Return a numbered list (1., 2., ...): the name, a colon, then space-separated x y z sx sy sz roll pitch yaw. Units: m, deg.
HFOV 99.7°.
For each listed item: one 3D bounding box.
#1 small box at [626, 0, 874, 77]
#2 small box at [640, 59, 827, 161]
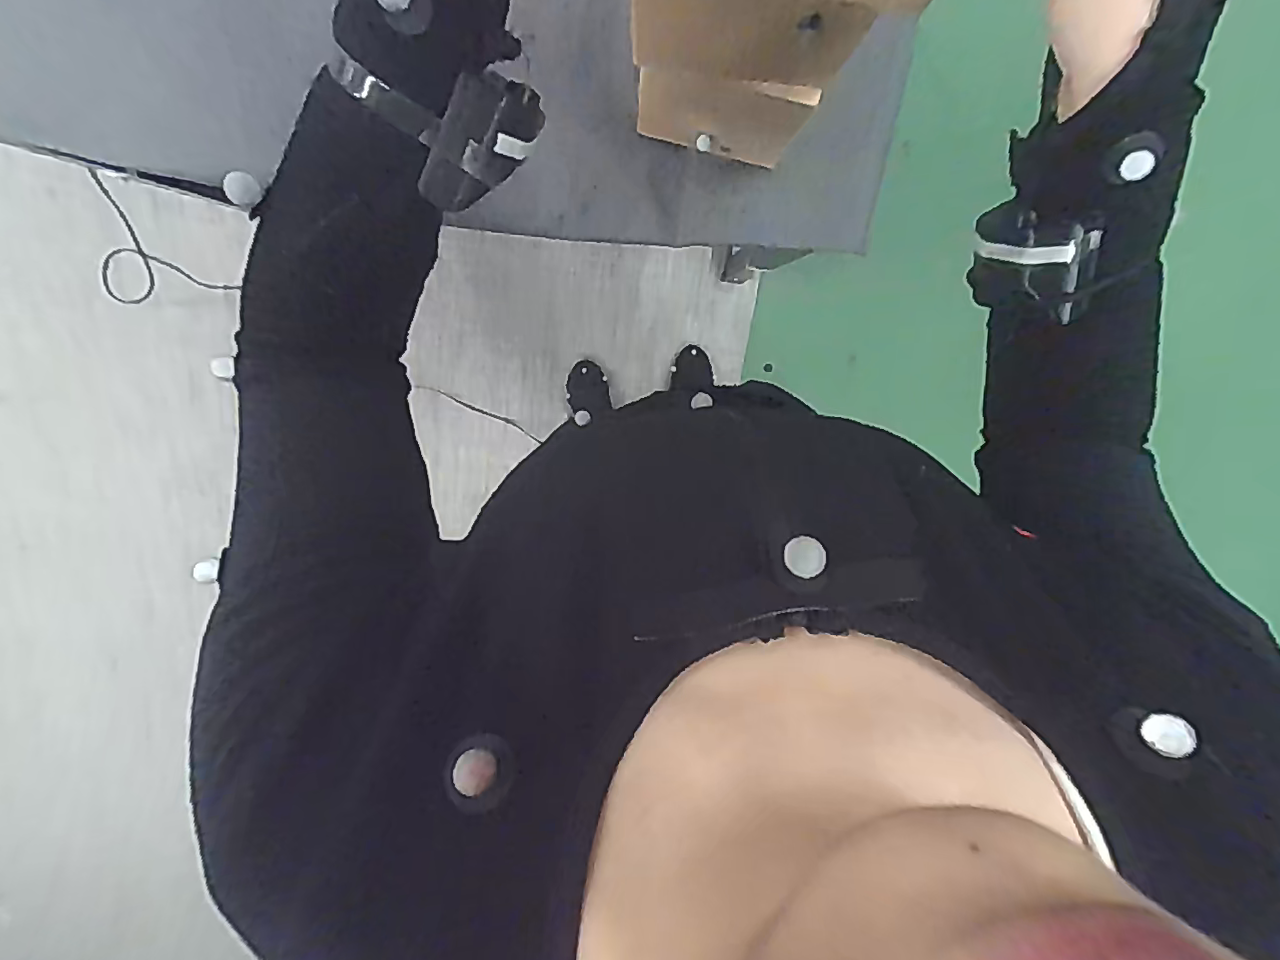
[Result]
1. small box: 0.084 -0.412 0.369 0.179 0.176 0.168 6 102 0
2. small box: 0.095 -0.449 0.527 0.168 0.176 0.179 13 104 -3
